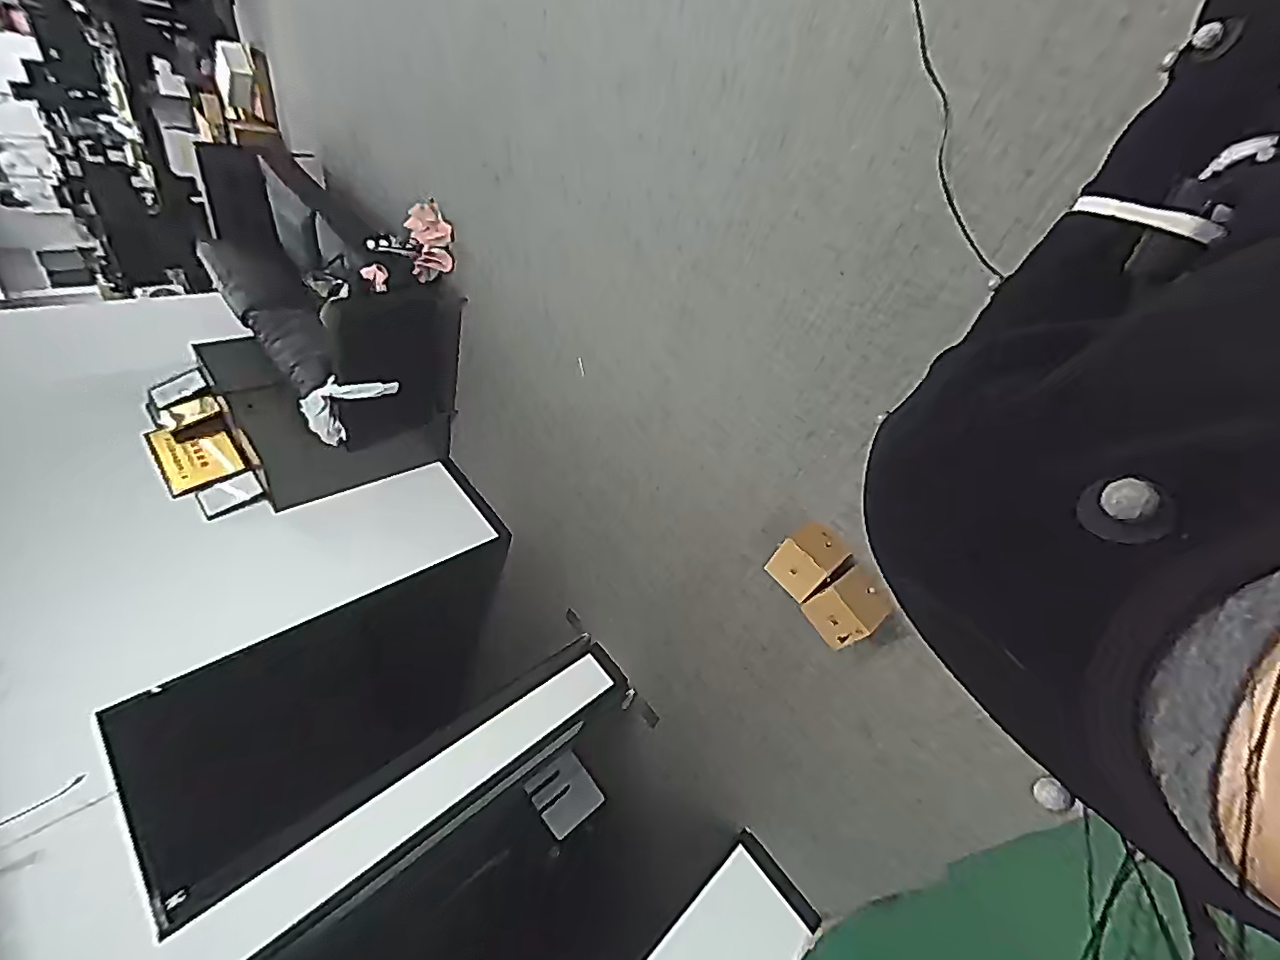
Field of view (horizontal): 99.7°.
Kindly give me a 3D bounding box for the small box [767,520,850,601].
[{"bbox_3d":[0.562,0.263,1.793,0.168,0.176,0.179,46,136,23],"label":"small box"}]
